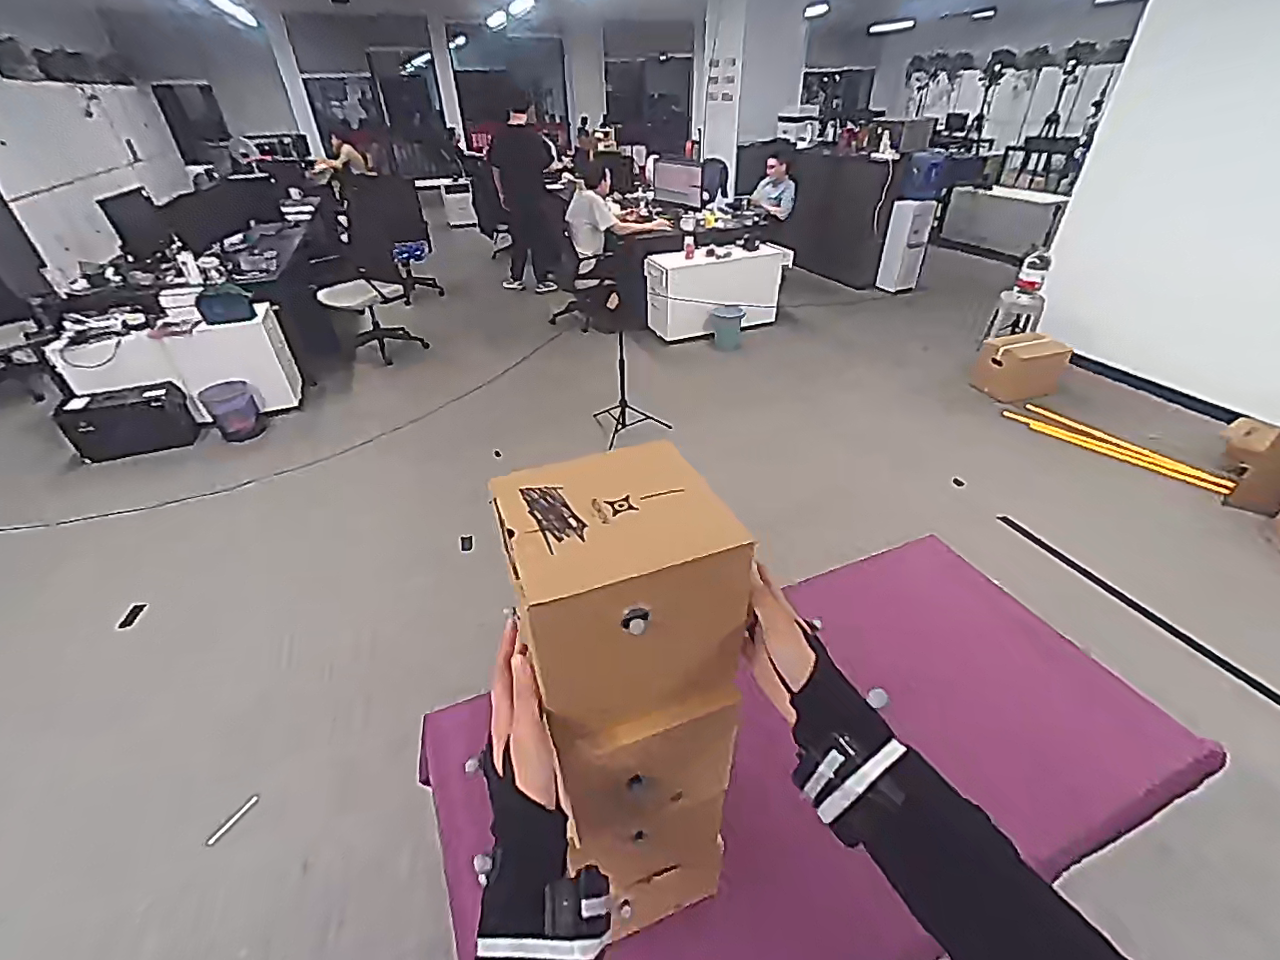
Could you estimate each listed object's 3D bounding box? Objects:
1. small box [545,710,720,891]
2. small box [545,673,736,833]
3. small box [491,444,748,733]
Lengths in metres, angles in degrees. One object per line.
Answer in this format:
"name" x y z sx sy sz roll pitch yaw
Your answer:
"small box" -0.012 0.367 0.668 0.179 0.176 0.168 -9 36 -11
"small box" -0.014 0.236 0.572 0.168 0.176 0.179 -13 36 -16
"small box" -0.022 0.092 0.490 0.179 0.176 0.168 -13 36 -17
